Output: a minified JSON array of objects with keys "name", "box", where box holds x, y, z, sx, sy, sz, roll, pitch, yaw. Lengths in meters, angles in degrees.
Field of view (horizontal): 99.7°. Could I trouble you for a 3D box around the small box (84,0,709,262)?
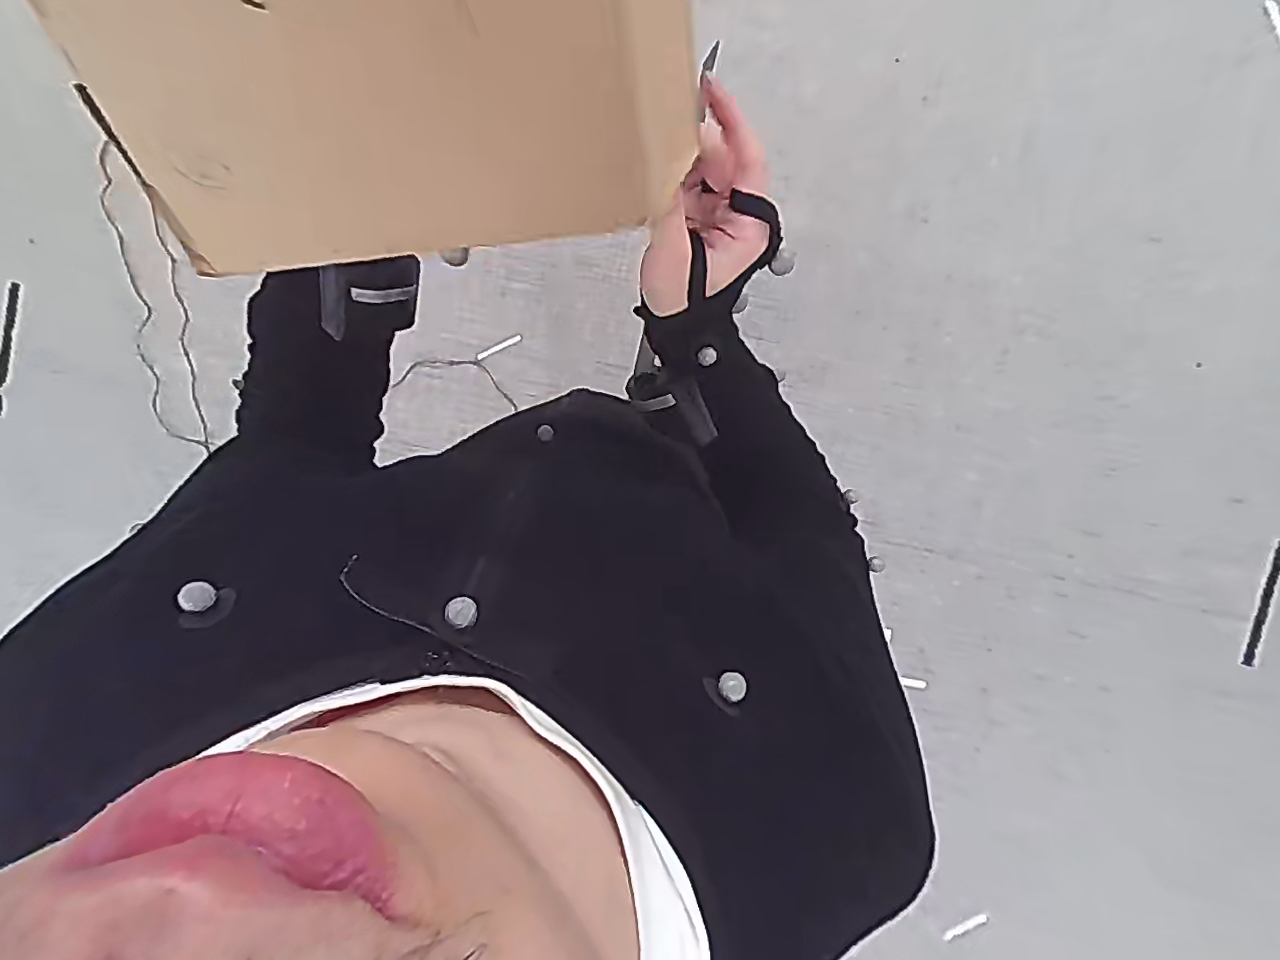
[{"name":"small box","box":[-0.073,-0.198,0.205,0.179,0.176,0.168,-2,127,13]}]
